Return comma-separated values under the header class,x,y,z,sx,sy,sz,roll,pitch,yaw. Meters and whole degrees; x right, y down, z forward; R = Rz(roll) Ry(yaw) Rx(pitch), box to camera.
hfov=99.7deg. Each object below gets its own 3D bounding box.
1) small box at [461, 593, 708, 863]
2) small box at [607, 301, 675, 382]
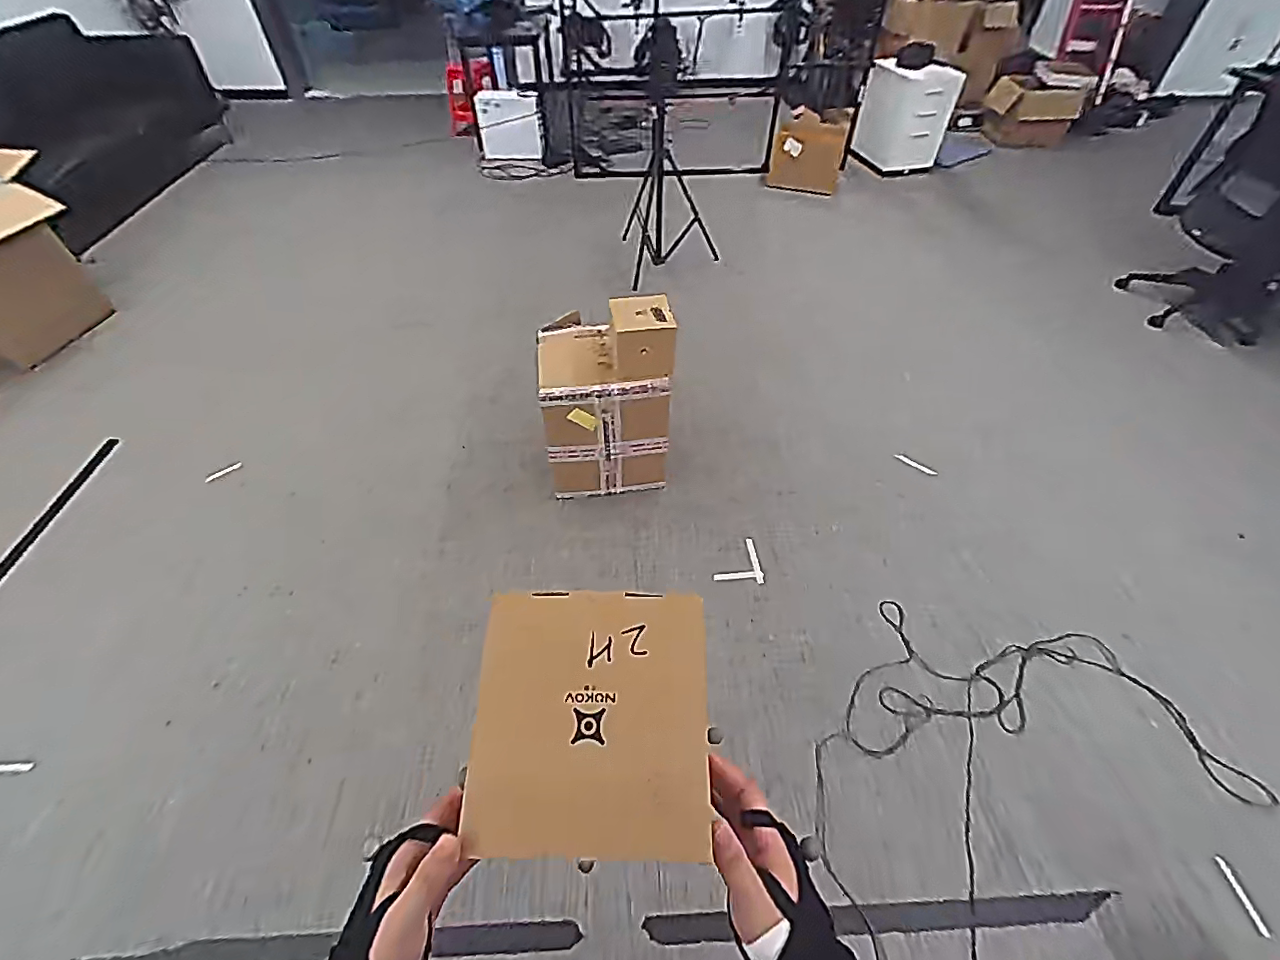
class,x,y,z,sx,sy,sz,roll,pitch,yaw
small box,-0.033,0.206,0.457,0.168,0.176,0.179,1,60,0
small box,-0.001,-0.413,1.620,0.179,0.176,0.168,-8,51,-7
